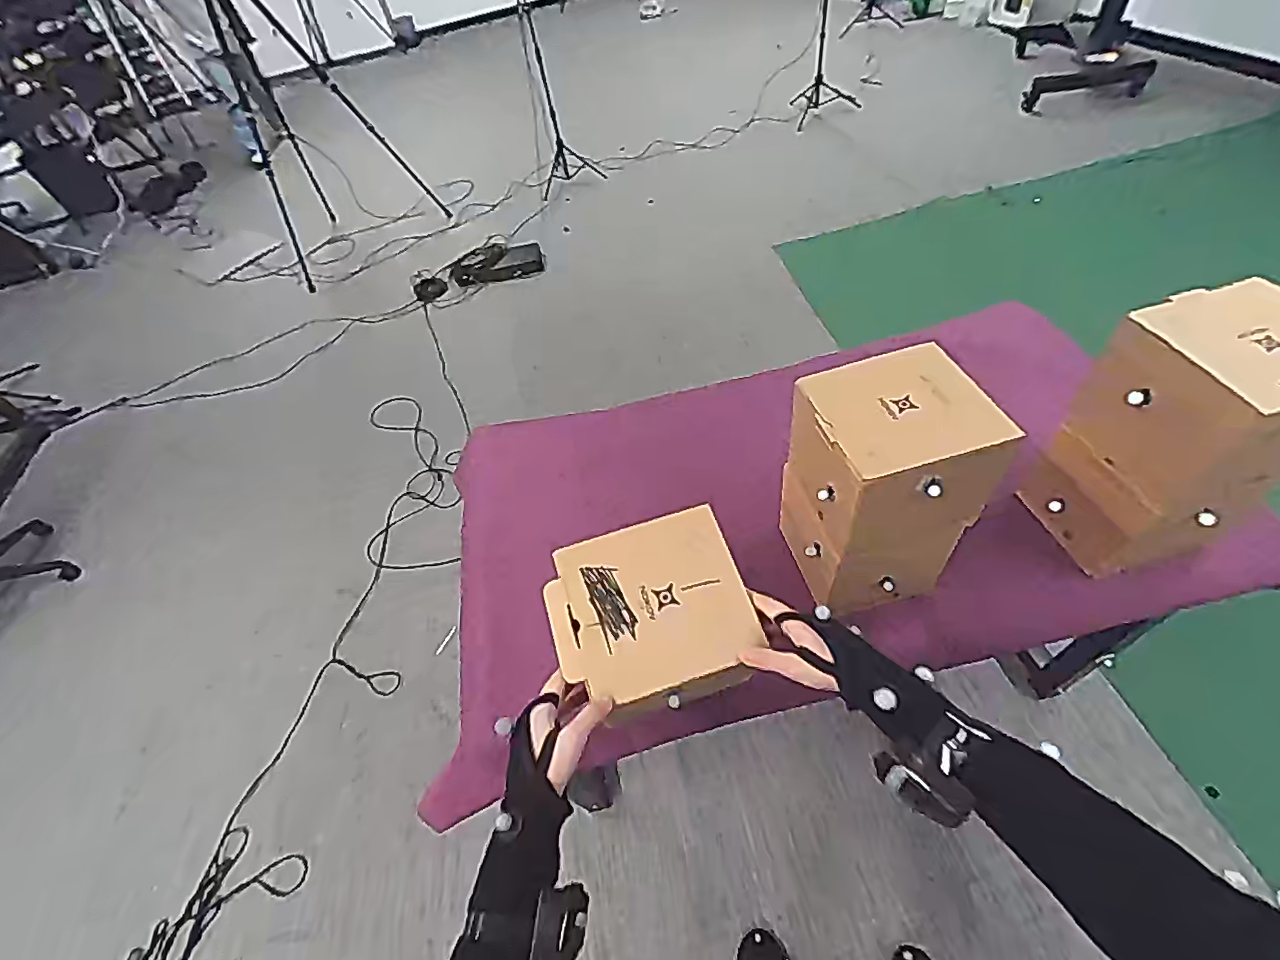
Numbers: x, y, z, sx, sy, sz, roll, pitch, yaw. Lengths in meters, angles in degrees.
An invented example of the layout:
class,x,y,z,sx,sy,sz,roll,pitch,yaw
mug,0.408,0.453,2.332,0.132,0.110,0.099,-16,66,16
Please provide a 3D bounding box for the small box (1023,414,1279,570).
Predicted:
class,x,y,z,sx,sy,sz,roll,pitch,yaw
small box,0.690,-0.001,0.752,0.179,0.176,0.168,-18,51,0

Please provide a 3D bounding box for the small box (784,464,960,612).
class,x,y,z,sx,sy,sz,roll,pitch,yaw
small box,0.318,0.072,0.781,0.168,0.176,0.179,-16,49,0

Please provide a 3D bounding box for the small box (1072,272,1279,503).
class,x,y,z,sx,sy,sz,roll,pitch,yaw
small box,0.662,-0.103,0.627,0.168,0.176,0.179,-18,50,1

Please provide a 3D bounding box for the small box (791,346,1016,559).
class,x,y,z,sx,sy,sz,roll,pitch,yaw
small box,0.295,-0.027,0.652,0.179,0.176,0.168,-16,50,0
